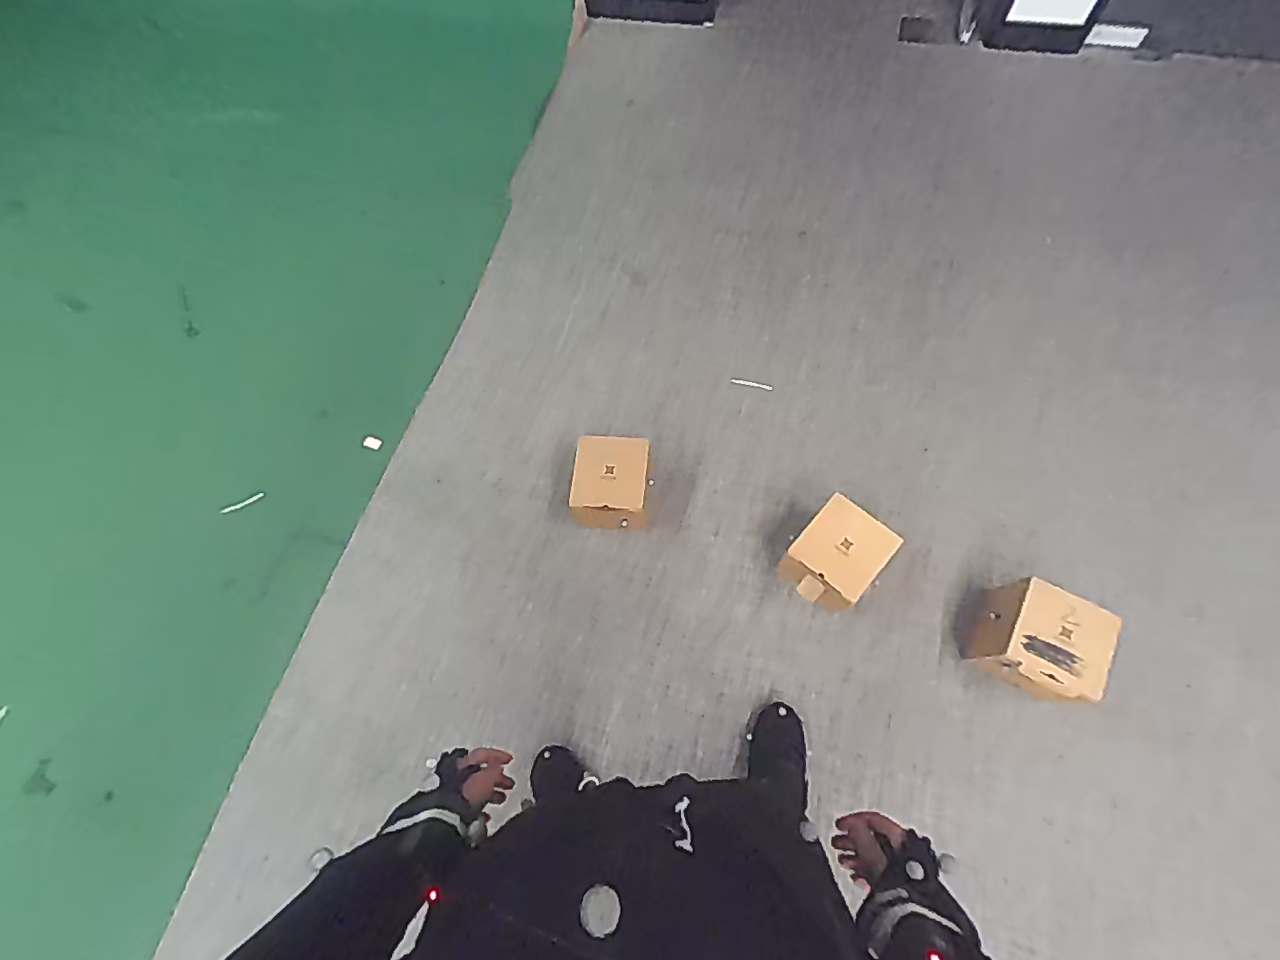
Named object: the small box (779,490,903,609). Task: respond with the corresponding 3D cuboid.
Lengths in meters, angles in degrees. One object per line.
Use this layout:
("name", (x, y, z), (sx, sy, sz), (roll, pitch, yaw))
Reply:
("small box", (0.423, 0.157, 1.170), (0.168, 0.176, 0.179), (39, 78, 17))

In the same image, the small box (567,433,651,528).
("small box", (-0.064, 0.006, 1.271), (0.168, 0.176, 0.179), (3, 68, 5))
